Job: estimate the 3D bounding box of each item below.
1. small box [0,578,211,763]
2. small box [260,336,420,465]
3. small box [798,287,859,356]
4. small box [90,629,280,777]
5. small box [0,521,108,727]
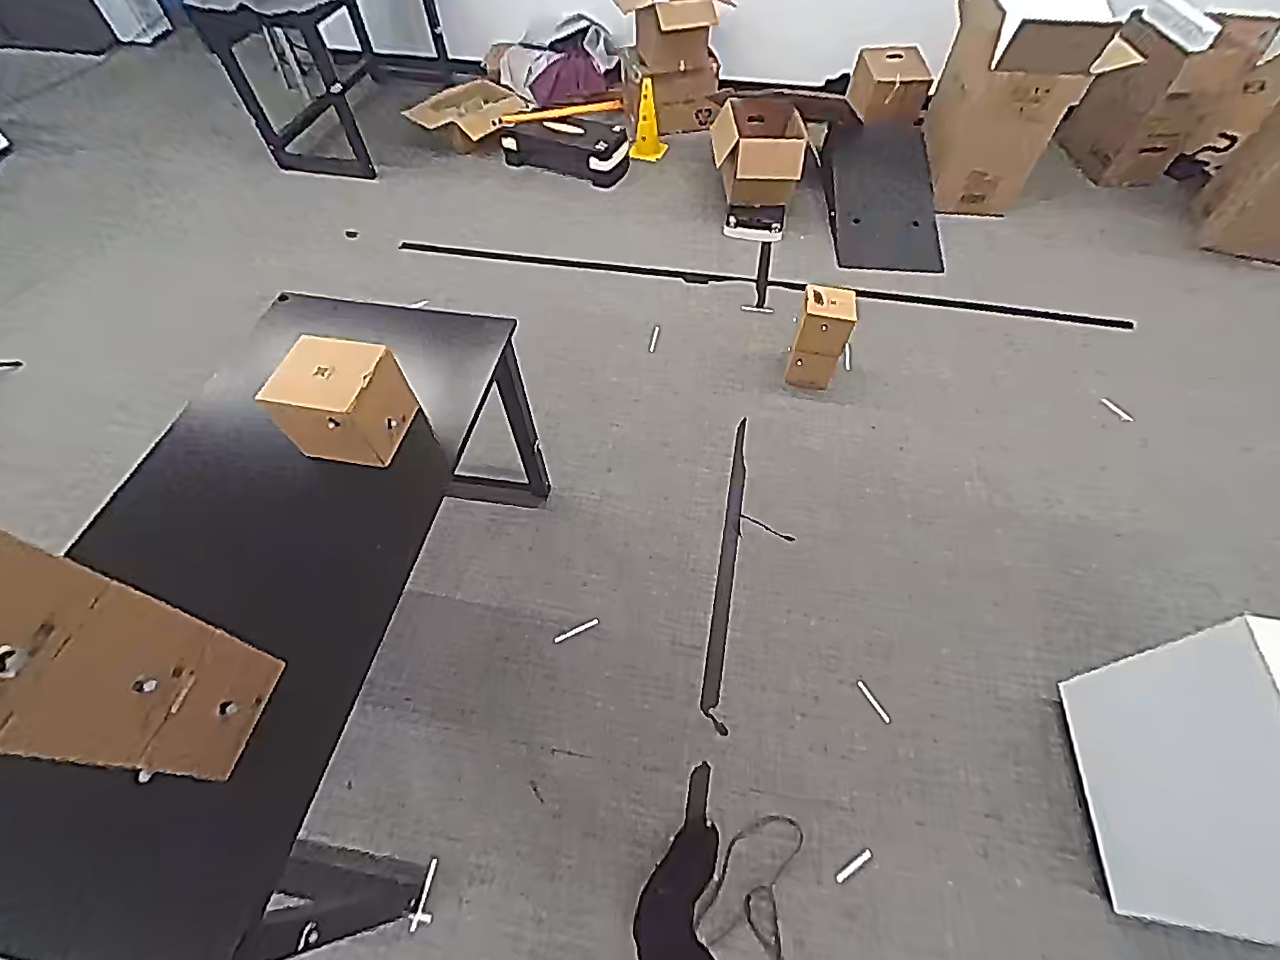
[{"bbox_3d":[-0.646,0.203,0.597,0.179,0.176,0.168,8,57,5],"label":"small box"},{"bbox_3d":[-0.554,-0.146,1.026,0.179,0.176,0.168,8,57,6],"label":"small box"},{"bbox_3d":[0.684,-0.575,1.974,0.179,0.176,0.168,10,57,5],"label":"small box"},{"bbox_3d":[-0.643,0.295,0.734,0.179,0.176,0.168,7,56,5],"label":"small box"},{"bbox_3d":[-0.645,0.112,0.462,0.179,0.176,0.168,8,58,5],"label":"small box"}]
